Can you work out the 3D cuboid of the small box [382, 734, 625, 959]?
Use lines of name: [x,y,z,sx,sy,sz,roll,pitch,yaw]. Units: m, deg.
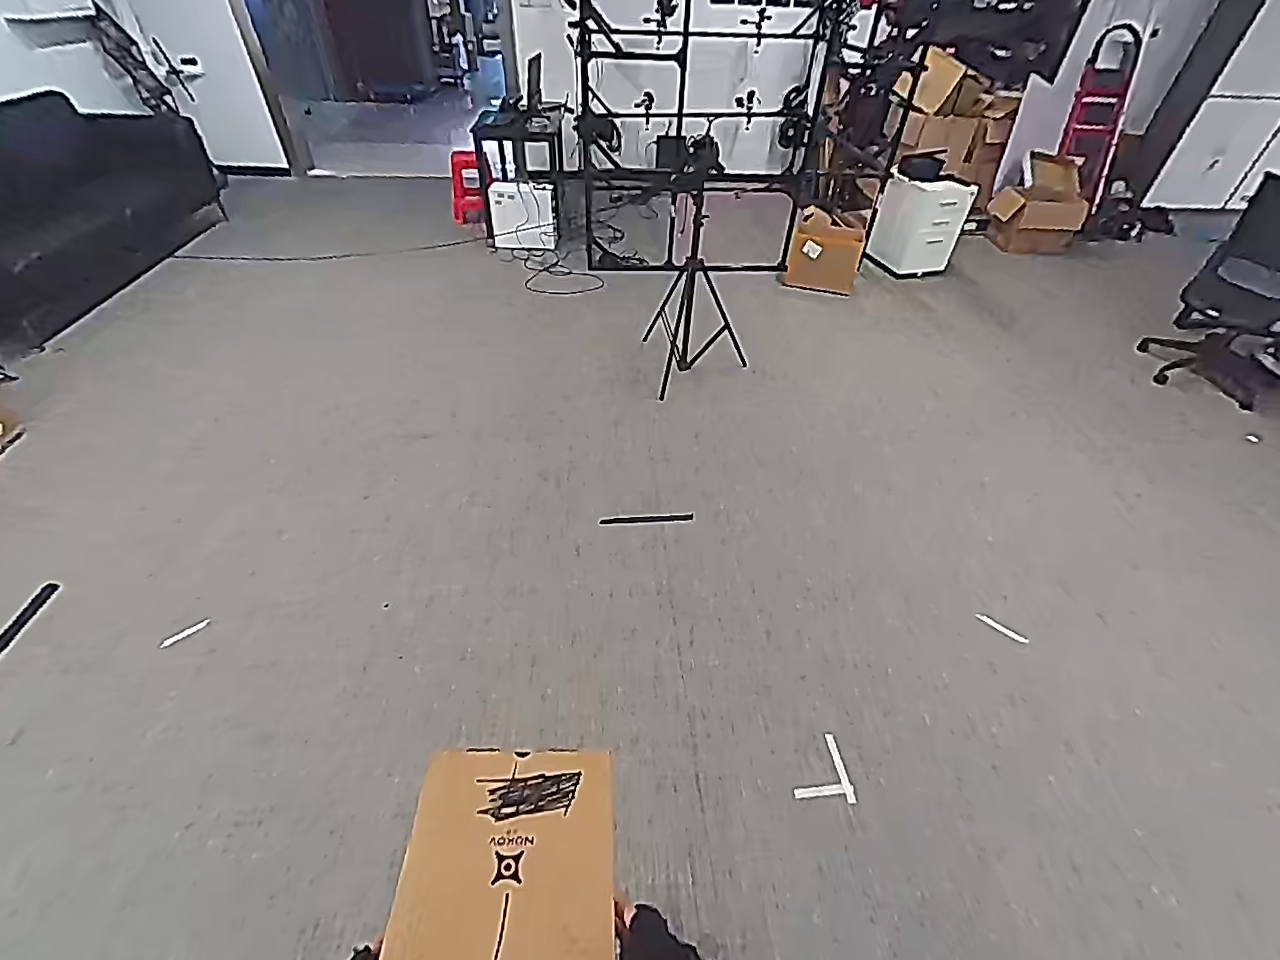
small box: [-0.105,0.351,0.474,0.168,0.176,0.179,3,34,-7]
